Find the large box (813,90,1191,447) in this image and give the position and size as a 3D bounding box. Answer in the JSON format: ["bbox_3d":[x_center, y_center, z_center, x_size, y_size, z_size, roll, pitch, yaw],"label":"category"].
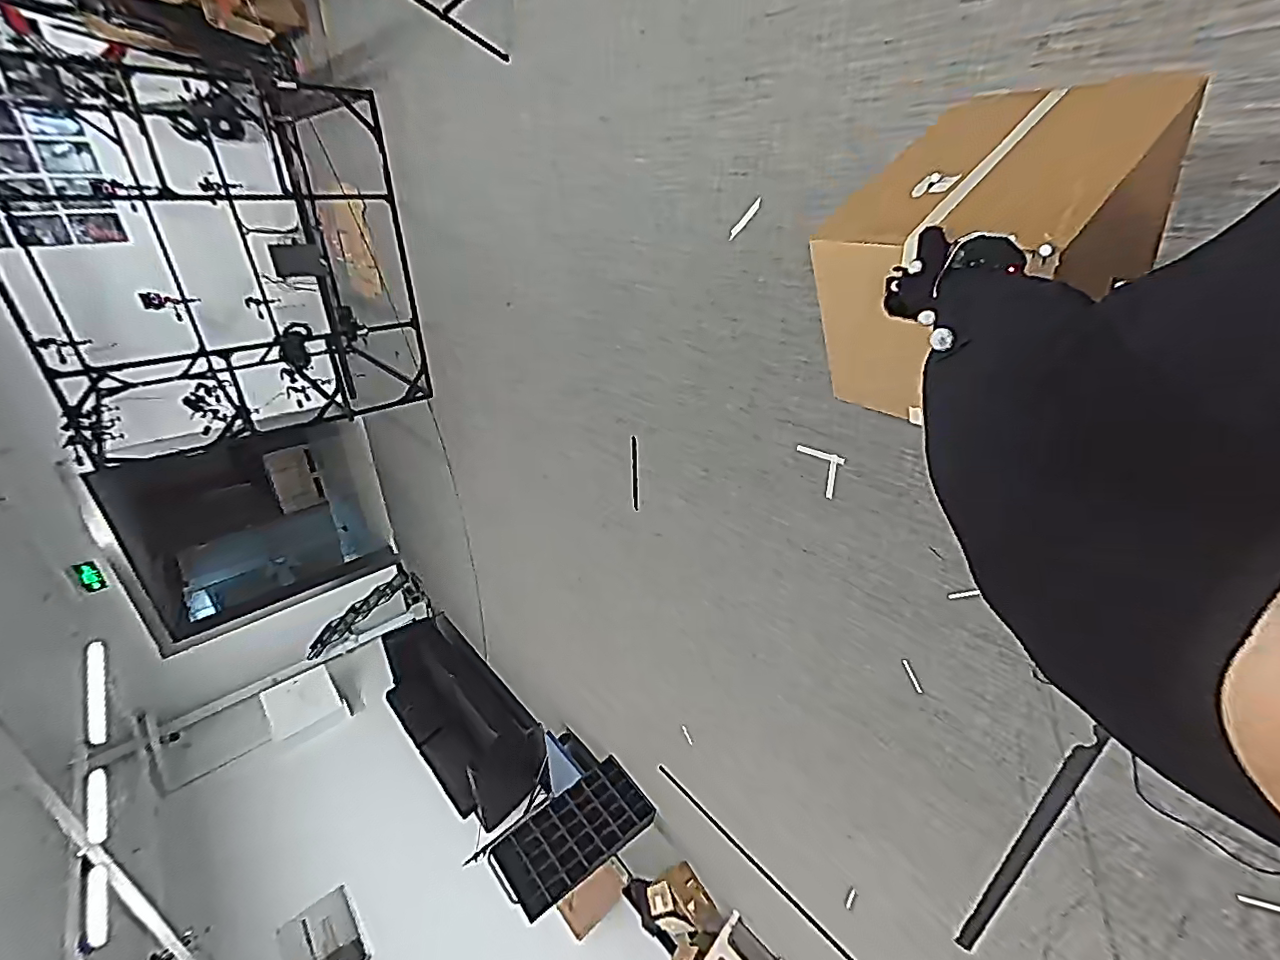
[{"bbox_3d":[0.536,-0.327,0.845,0.320,0.408,0.320,30,159,45],"label":"large box"}]
